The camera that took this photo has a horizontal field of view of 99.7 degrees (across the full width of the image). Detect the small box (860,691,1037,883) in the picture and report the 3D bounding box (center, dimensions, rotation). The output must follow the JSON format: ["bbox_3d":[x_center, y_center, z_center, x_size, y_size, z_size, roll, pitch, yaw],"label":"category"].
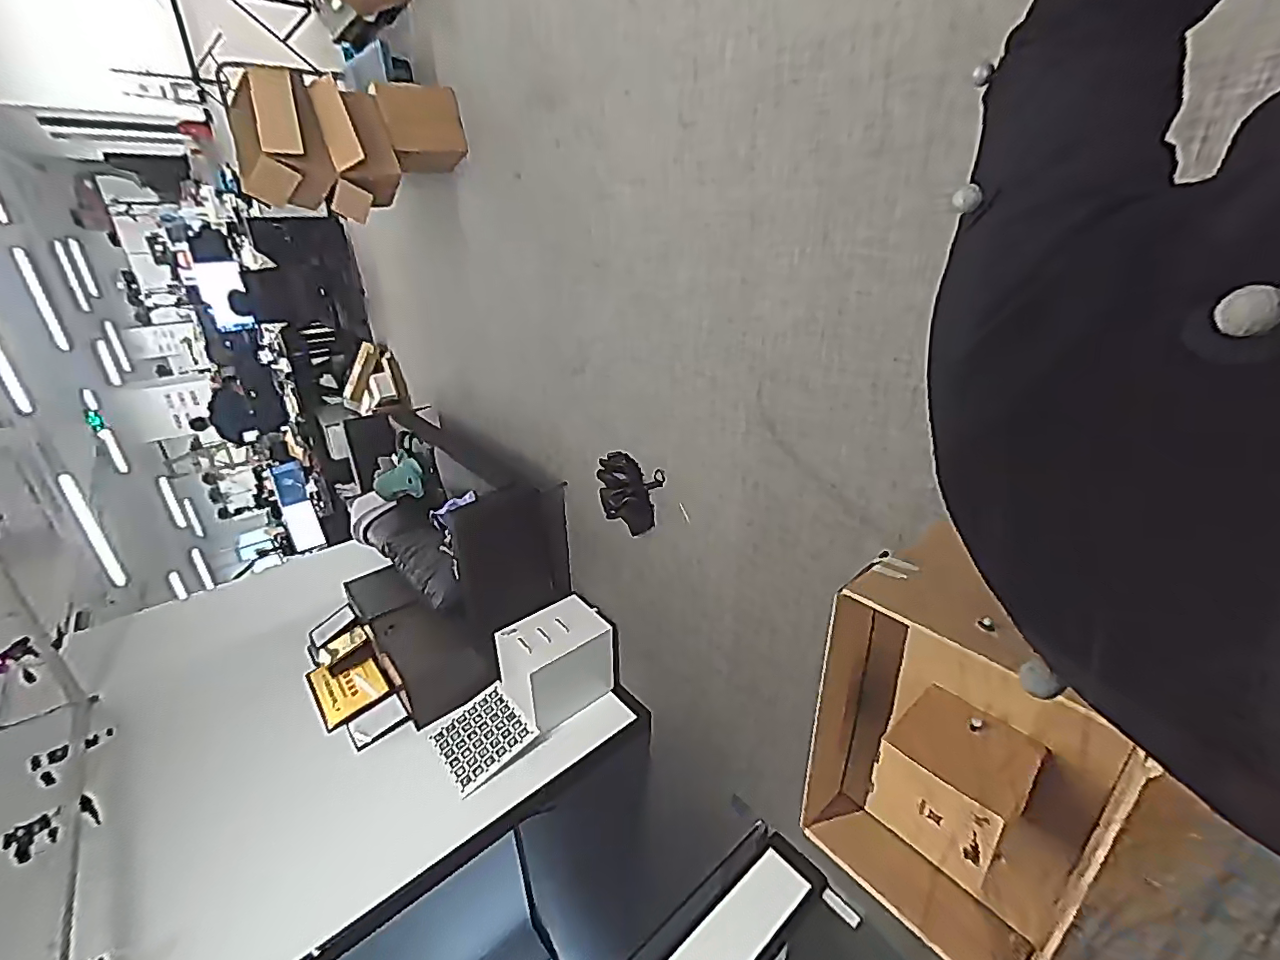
[{"bbox_3d":[0.484,0.469,0.860,0.179,0.176,0.168,27,129,46],"label":"small box"}]
